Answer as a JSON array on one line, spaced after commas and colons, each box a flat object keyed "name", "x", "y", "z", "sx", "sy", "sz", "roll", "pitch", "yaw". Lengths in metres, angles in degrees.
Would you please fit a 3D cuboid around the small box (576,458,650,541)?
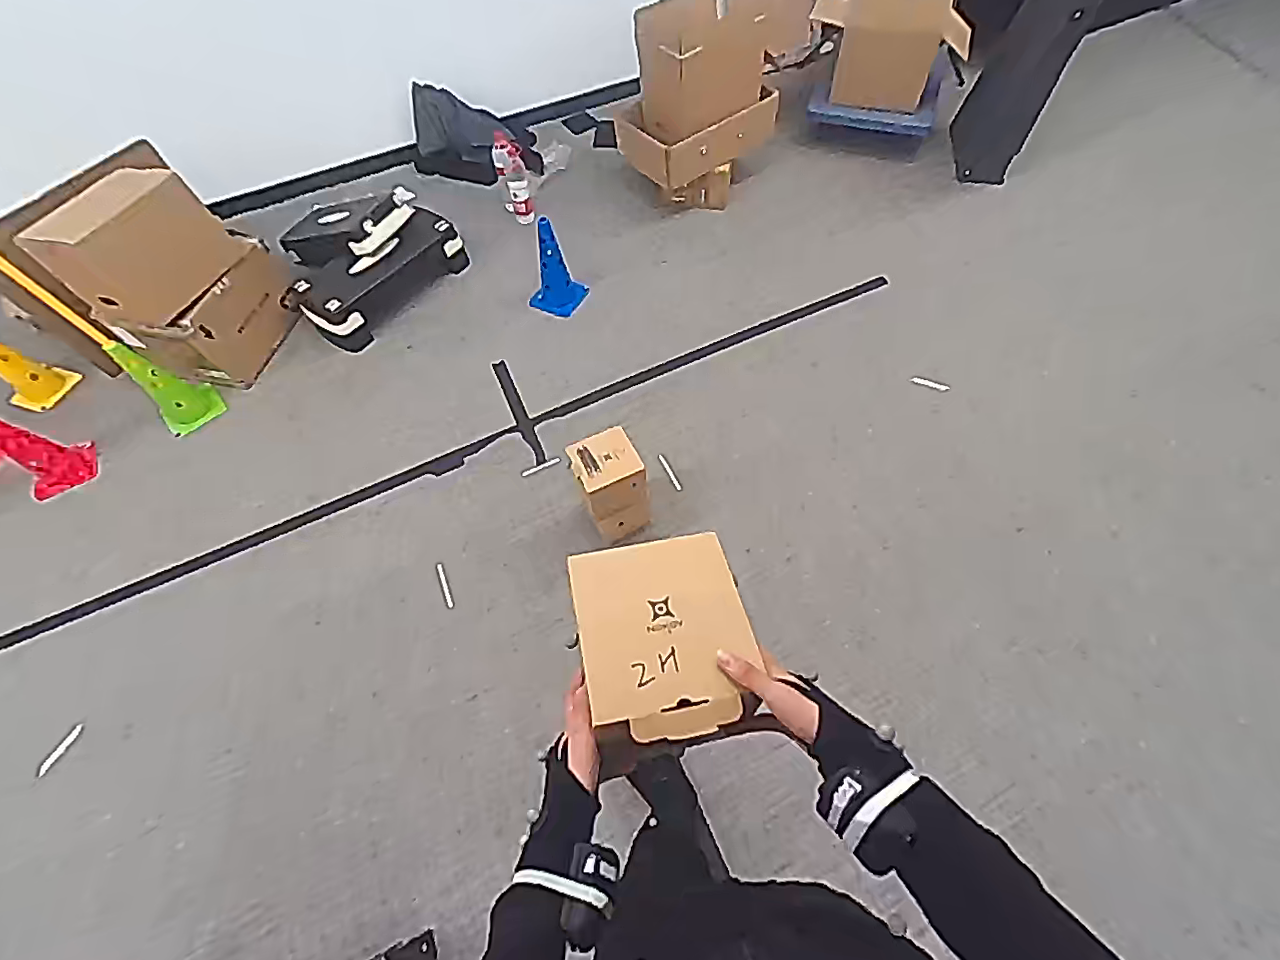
[{"name": "small box", "x": -0.079, "y": 0.070, "z": 1.686, "sx": 0.168, "sy": 0.176, "sz": 0.179, "roll": -28, "pitch": 62, "yaw": -12}]

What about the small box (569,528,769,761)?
[{"name": "small box", "x": 0.018, "y": 0.179, "z": 0.588, "sx": 0.168, "sy": 0.176, "sz": 0.179, "roll": -9, "pitch": 52, "yaw": -8}]
